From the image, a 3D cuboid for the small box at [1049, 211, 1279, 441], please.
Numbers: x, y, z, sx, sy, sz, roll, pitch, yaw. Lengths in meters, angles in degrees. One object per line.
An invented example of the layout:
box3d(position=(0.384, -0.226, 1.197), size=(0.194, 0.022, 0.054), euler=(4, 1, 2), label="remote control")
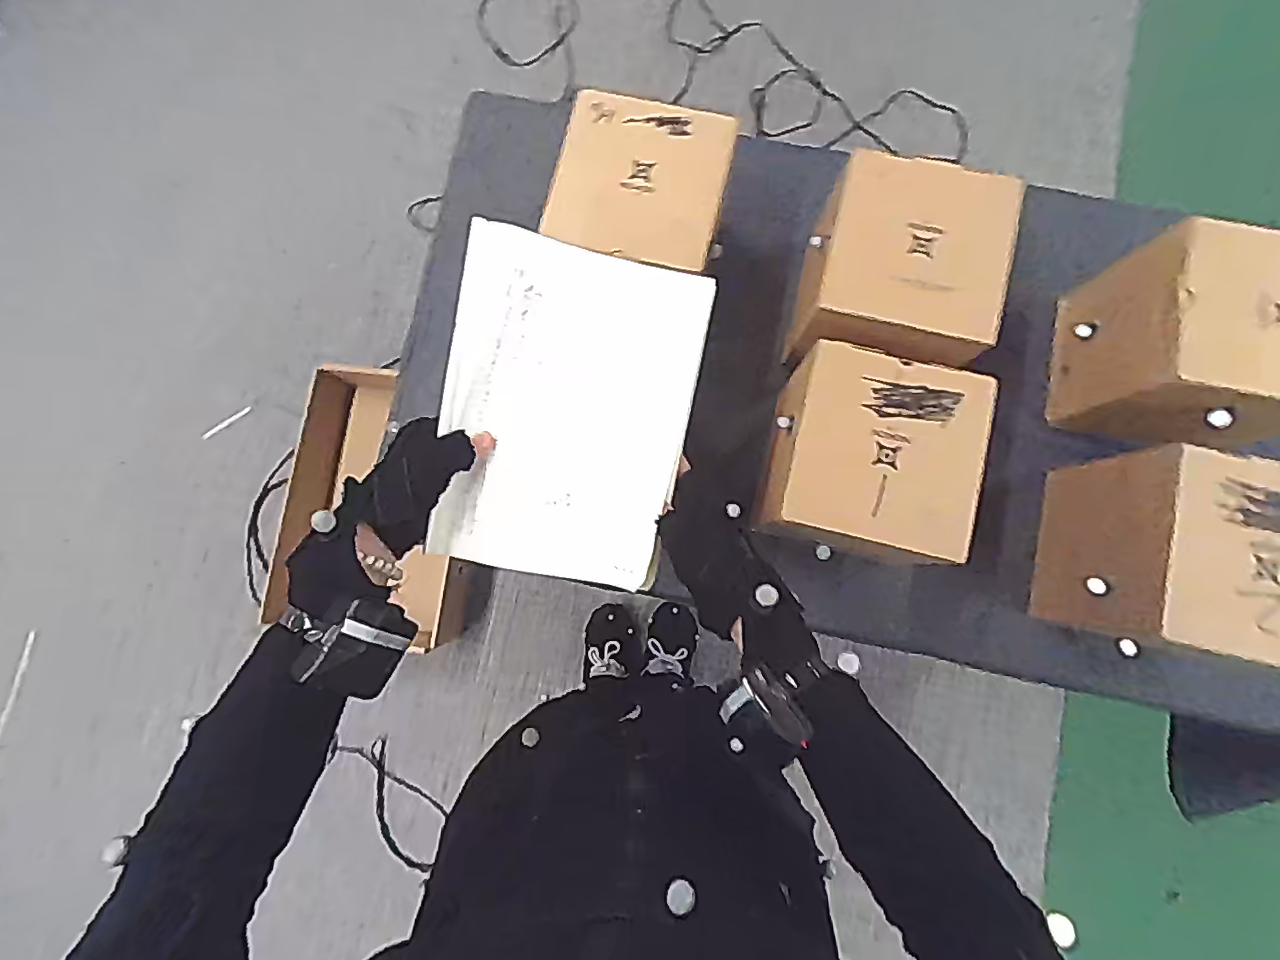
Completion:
box3d(position=(0.587, -0.146, 0.571), size=(0.179, 0.176, 0.168), euler=(12, 82, 5), label="small box")
